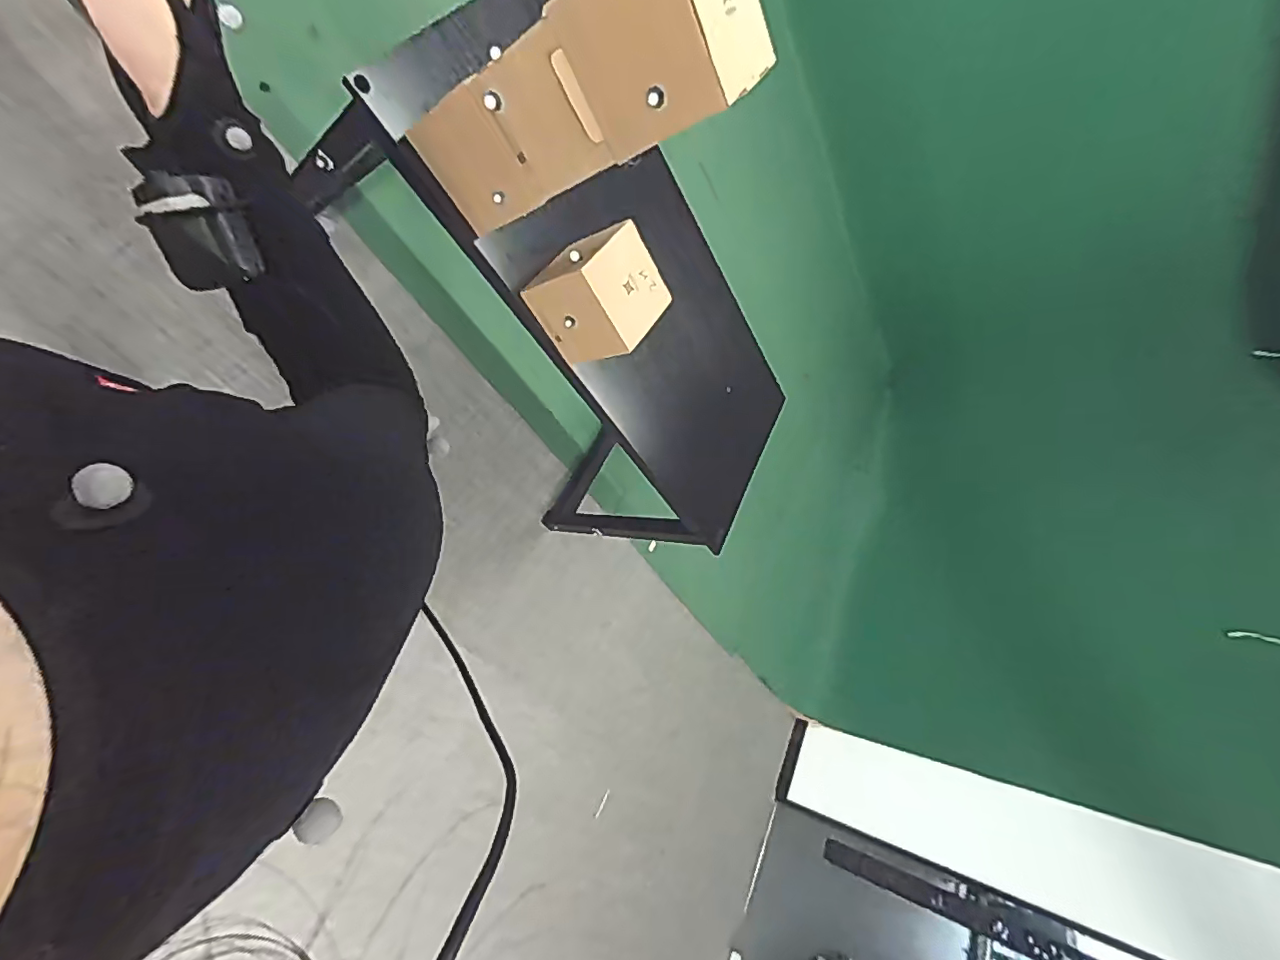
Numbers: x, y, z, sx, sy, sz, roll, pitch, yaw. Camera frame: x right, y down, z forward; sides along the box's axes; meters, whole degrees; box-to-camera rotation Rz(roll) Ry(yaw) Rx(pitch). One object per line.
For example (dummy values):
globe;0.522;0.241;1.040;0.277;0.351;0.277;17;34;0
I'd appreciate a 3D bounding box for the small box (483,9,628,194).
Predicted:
small box;-0.086;-0.525;0.737;0.168;0.176;0.179;56;52;-34

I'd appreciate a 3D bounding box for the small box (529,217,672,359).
small box;-0.077;-0.344;0.997;0.179;0.176;0.168;-57;130;-31

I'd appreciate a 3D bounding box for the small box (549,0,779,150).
small box;0.032;-0.516;0.625;0.179;0.176;0.168;56;51;-33
